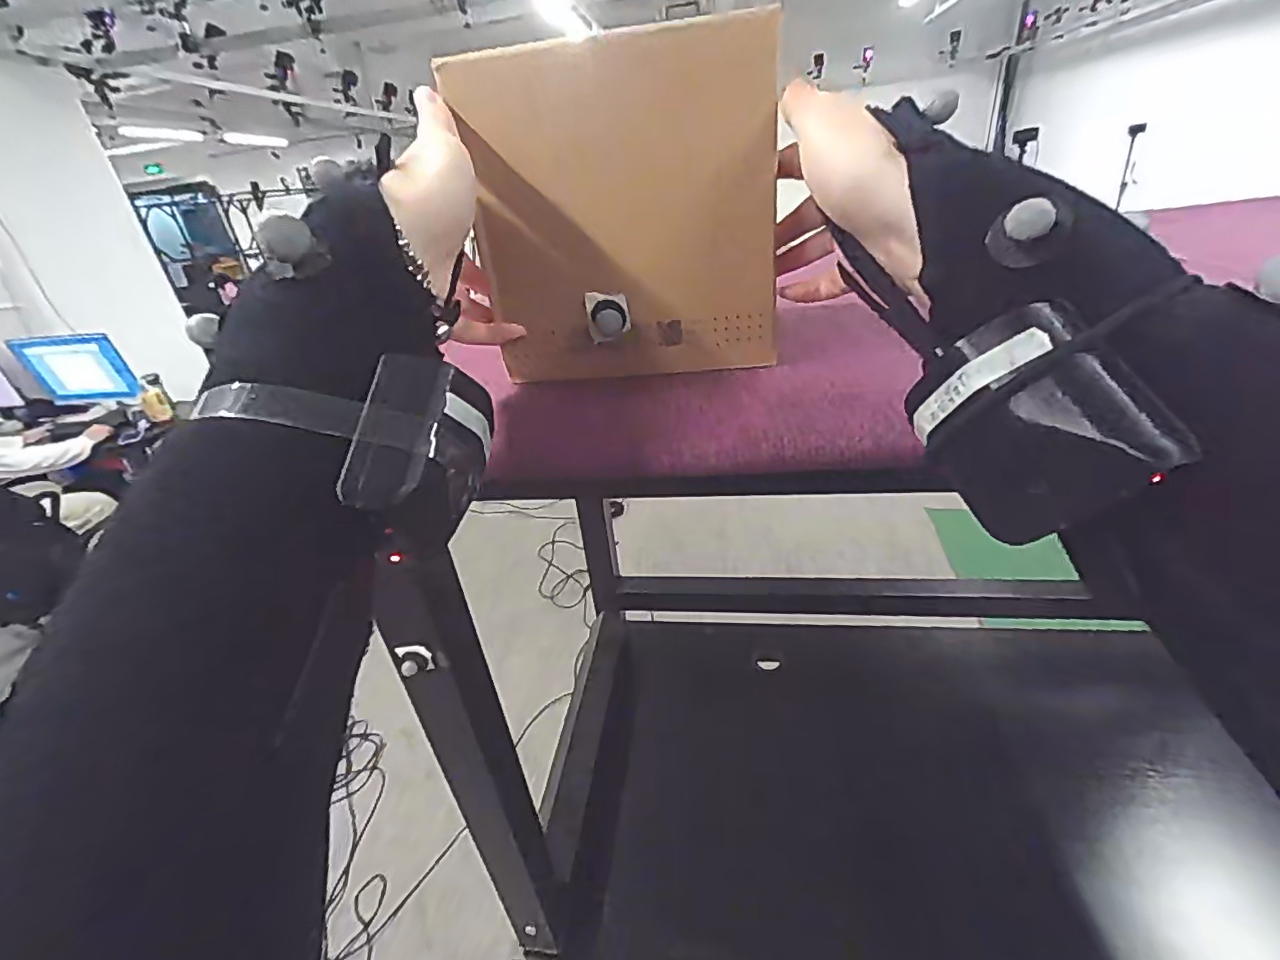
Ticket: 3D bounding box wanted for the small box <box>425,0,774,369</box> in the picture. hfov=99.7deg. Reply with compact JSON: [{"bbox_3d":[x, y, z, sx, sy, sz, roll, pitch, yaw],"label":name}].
[{"bbox_3d":[-0.007,-0.180,0.354,0.168,0.176,0.179,-3,30,8],"label":"small box"}]
